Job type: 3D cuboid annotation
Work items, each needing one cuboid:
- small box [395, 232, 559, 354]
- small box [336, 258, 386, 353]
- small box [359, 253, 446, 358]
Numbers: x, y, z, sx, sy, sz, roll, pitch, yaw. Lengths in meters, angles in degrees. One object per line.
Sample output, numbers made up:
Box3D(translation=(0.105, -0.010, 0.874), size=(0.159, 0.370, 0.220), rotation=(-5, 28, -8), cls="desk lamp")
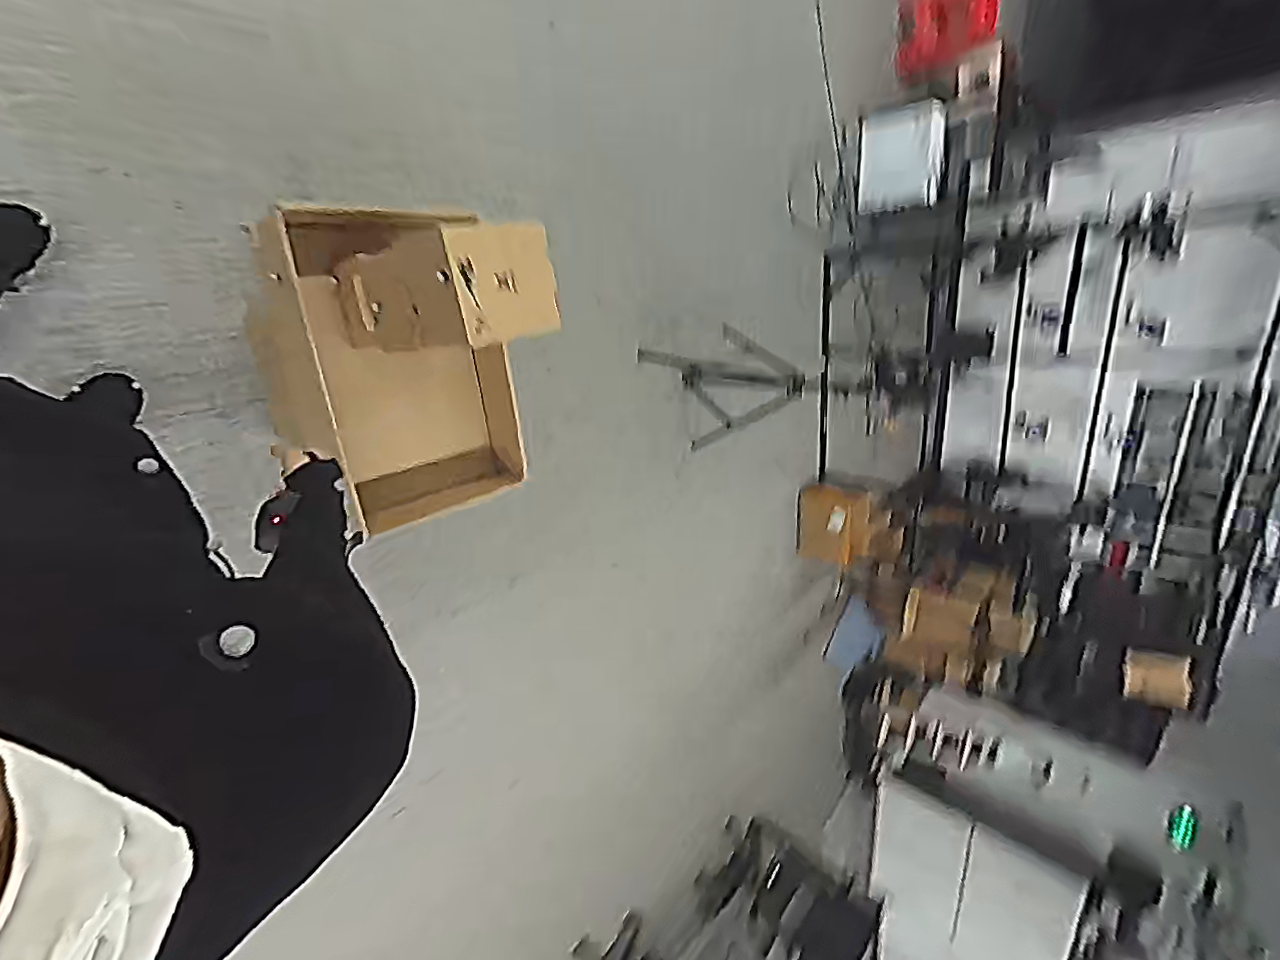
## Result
Box3D(translation=(-0.259, -0.300, 0.870), size=(0.179, 0.176, 0.168), rotation=(-26, 116, -41), cls="small box")
Box3D(translation=(-0.491, -0.352, 1.098), size=(0.179, 0.176, 0.168), rotation=(-24, 116, -42), cls="small box")
Box3D(translation=(-0.377, -0.319, 0.985), size=(0.179, 0.176, 0.168), rotation=(-25, 116, -40), cls="small box")
